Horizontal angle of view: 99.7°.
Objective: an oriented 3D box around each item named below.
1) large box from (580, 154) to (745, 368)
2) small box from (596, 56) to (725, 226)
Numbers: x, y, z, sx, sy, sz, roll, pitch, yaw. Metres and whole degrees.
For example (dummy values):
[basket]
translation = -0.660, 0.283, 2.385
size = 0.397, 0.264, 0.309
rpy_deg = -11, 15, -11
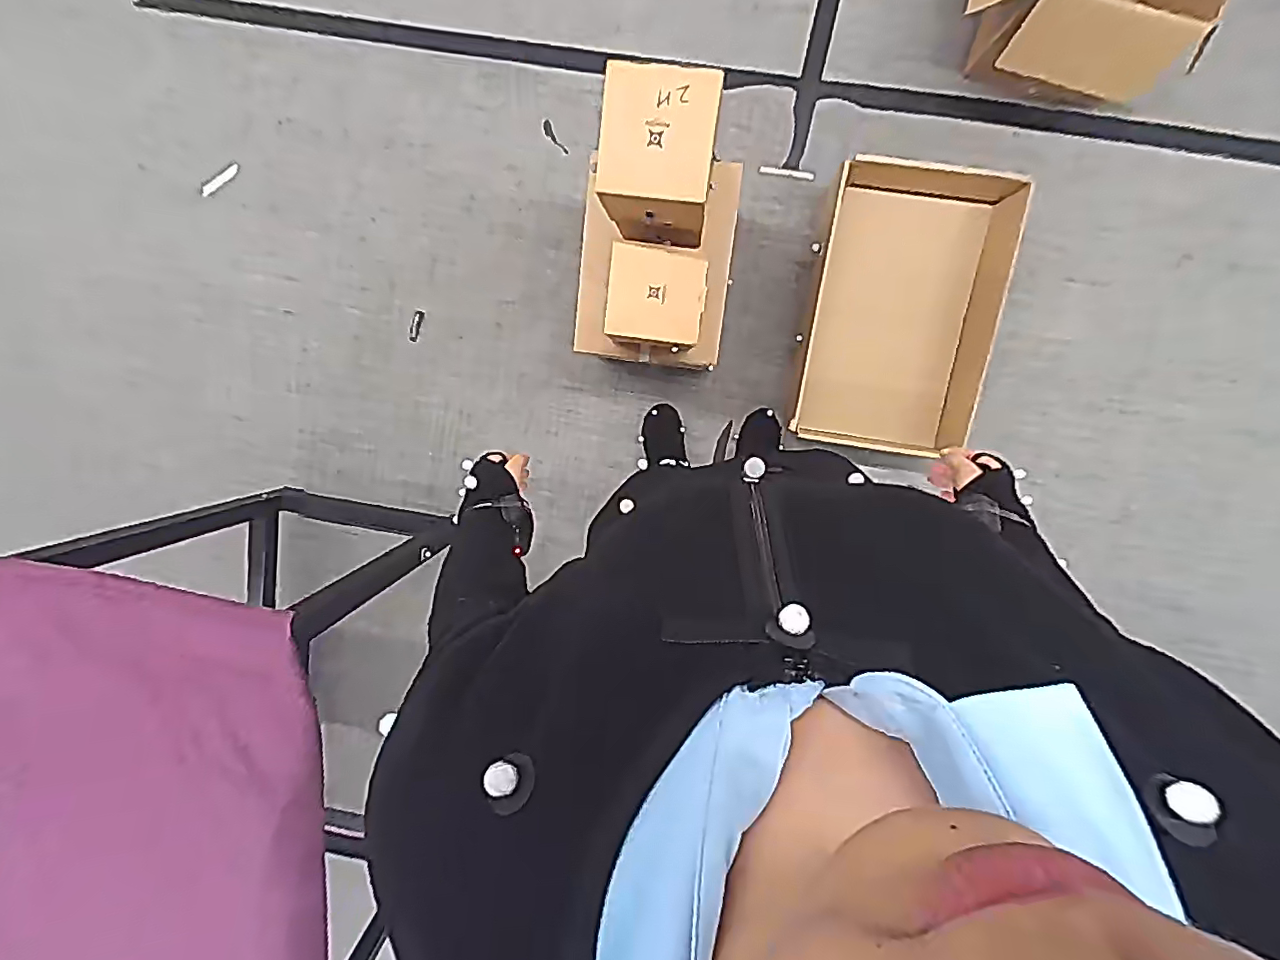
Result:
[large box]
translation = 0.052, -0.482, 1.264
size = 0.320, 0.320, 0.408
rpy_deg = 7, 102, 5
[small box]
translation = 0.035, -0.512, 0.843
size = 0.168, 0.176, 0.179
rpy_deg = 8, 102, 3
